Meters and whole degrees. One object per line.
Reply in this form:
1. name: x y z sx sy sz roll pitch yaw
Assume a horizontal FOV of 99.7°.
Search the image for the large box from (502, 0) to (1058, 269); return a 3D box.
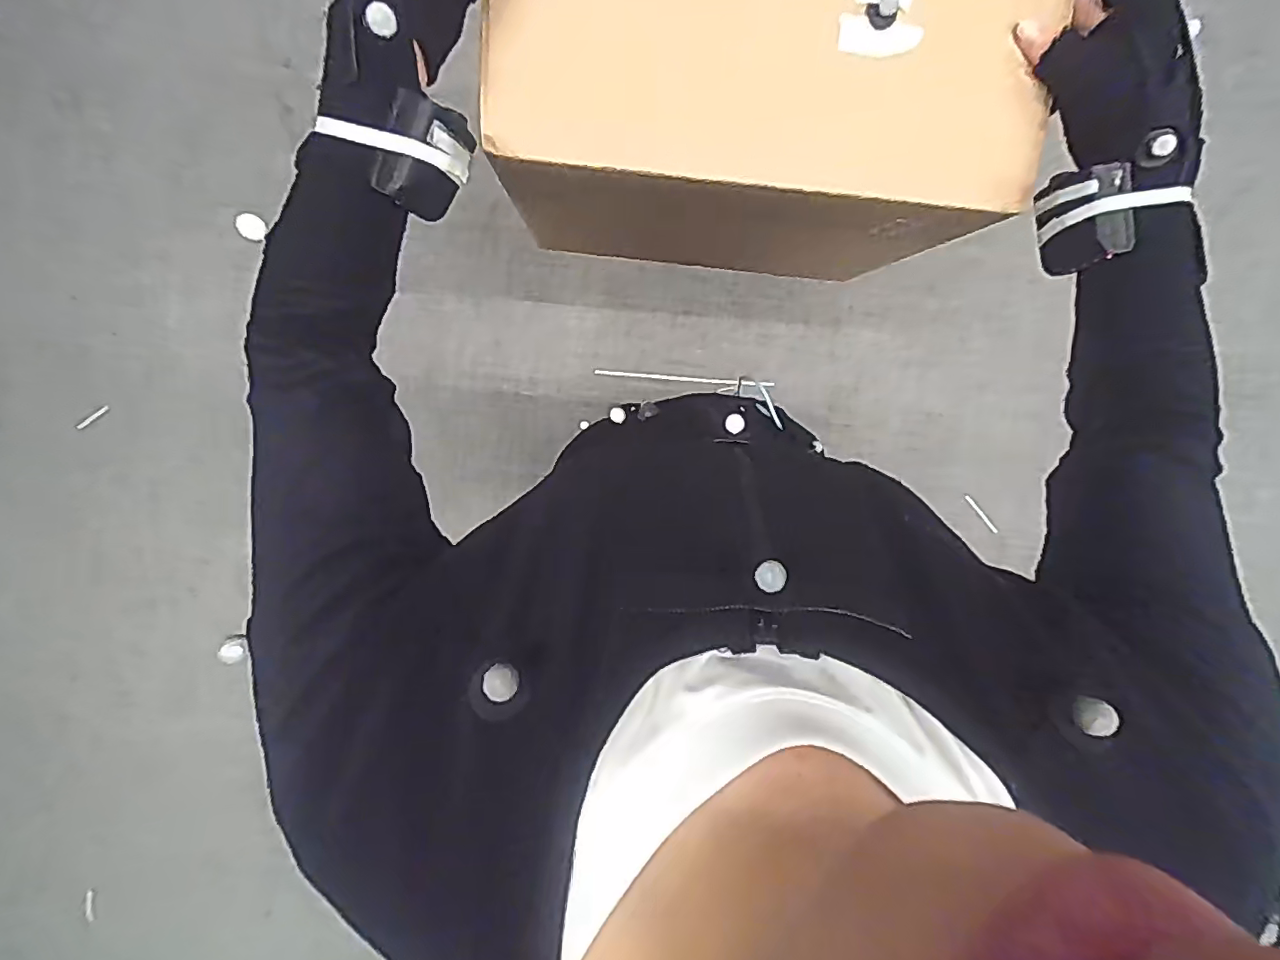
1. large box: 0.095 -0.405 0.519 0.408 0.320 0.320 4 102 -5
